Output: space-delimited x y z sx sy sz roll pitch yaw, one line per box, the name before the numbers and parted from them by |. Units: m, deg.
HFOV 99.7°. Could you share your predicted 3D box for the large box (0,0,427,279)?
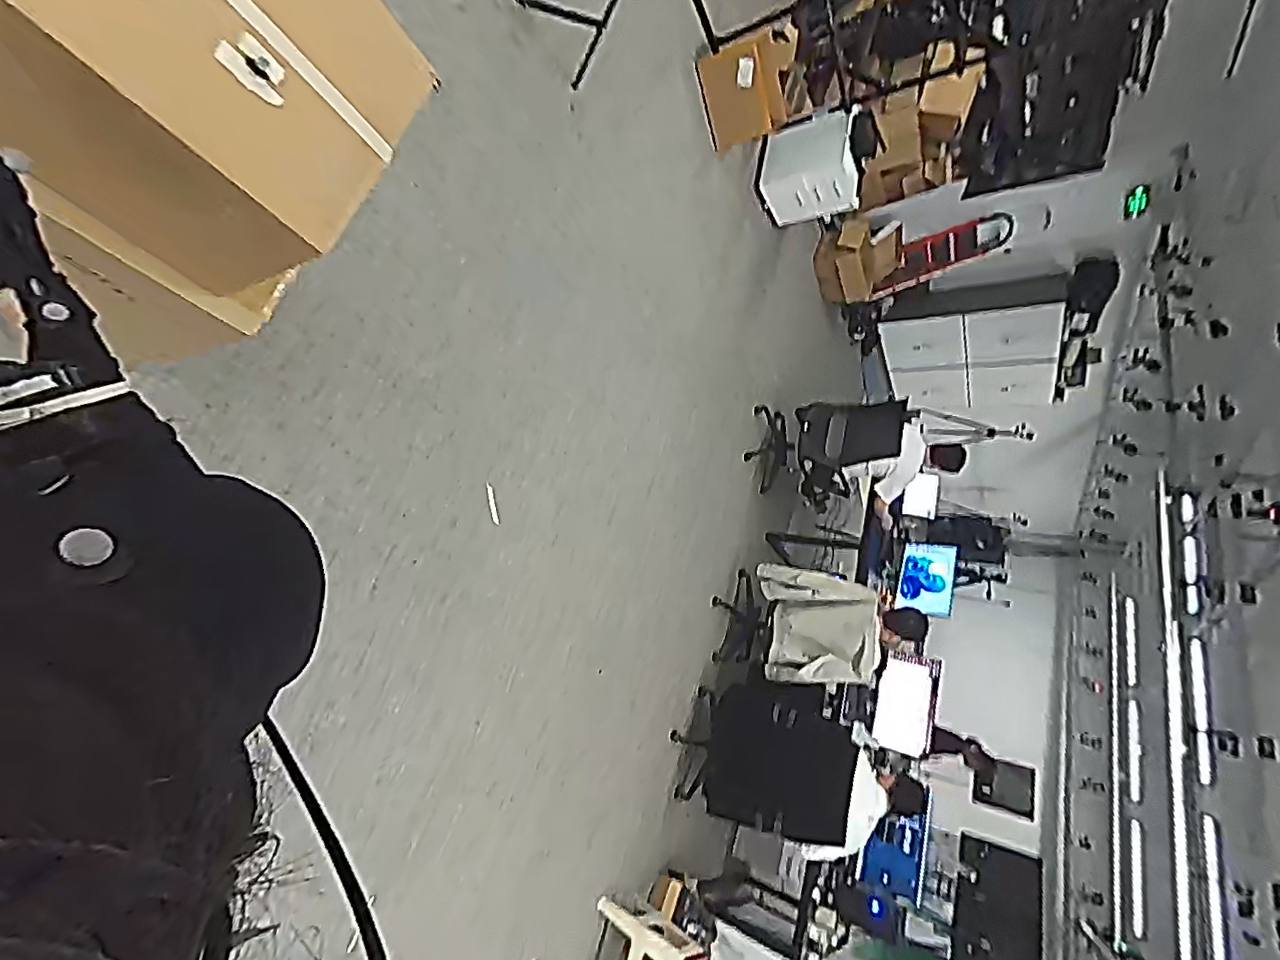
large box | -0.542 -0.498 0.596 0.408 0.320 0.320 43 58 -49
